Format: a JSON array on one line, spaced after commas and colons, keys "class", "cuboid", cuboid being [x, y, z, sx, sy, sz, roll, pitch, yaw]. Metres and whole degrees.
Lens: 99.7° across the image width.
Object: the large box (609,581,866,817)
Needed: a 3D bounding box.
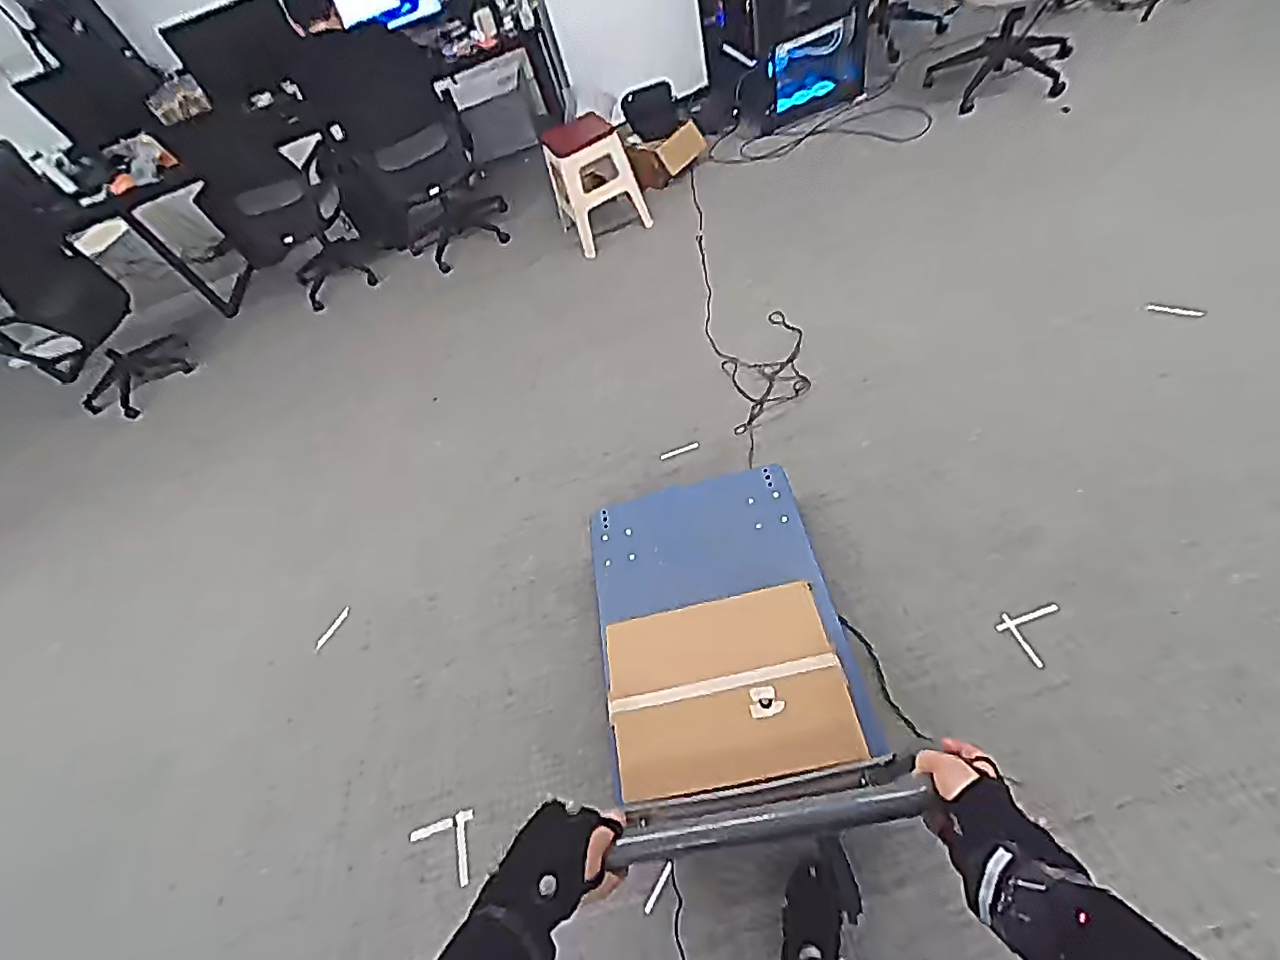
[{"class": "large box", "cuboid": [0.182, 0.448, 1.080, 0.408, 0.320, 0.320, -15, 53, 6]}]
